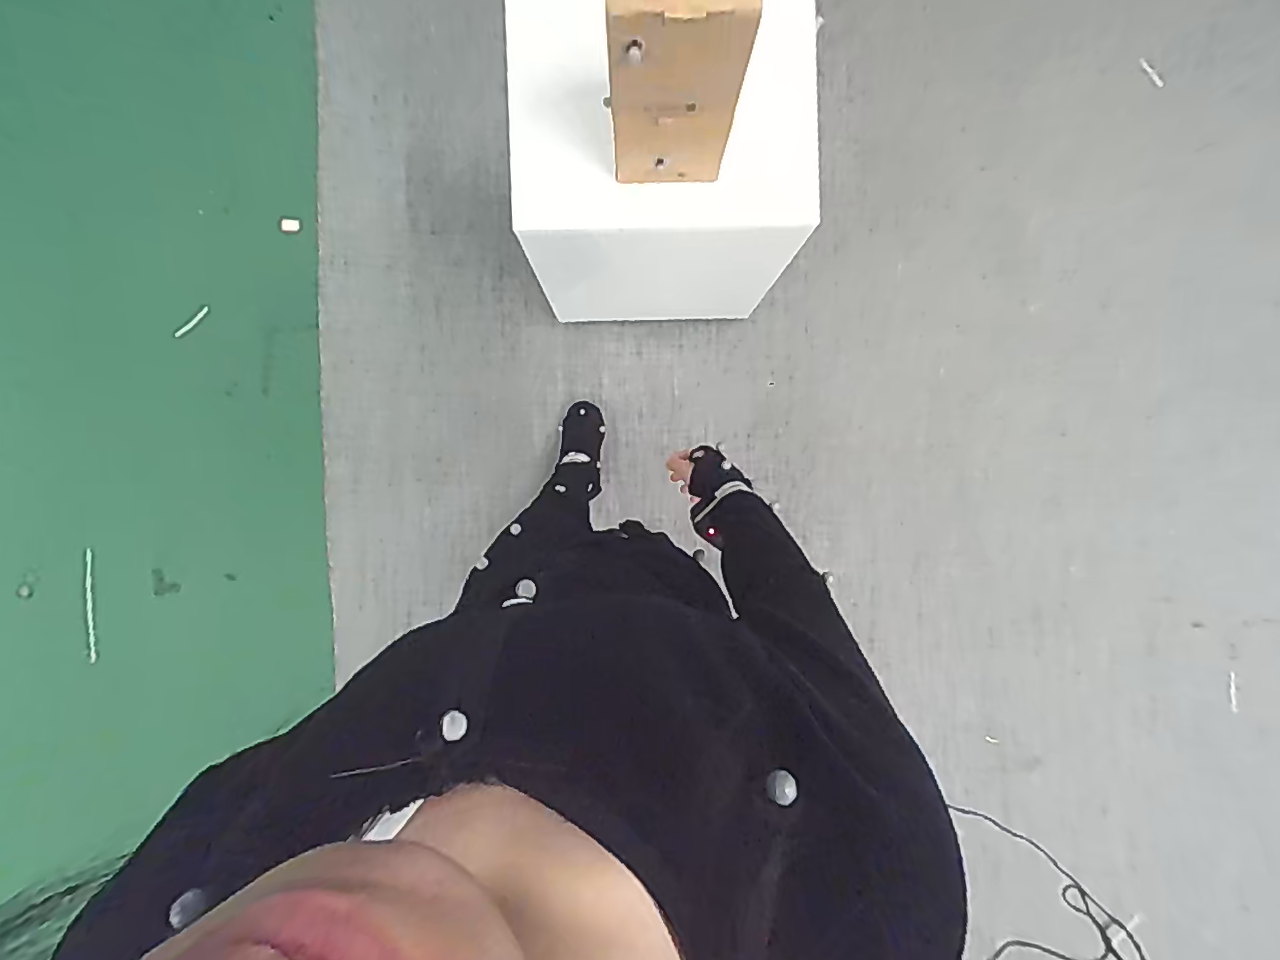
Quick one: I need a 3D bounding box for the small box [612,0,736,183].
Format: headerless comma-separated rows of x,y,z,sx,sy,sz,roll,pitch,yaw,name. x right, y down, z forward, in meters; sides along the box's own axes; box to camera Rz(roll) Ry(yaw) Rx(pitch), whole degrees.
0.042,-0.568,0.792,0.168,0.176,0.179,-1,90,-1,small box
